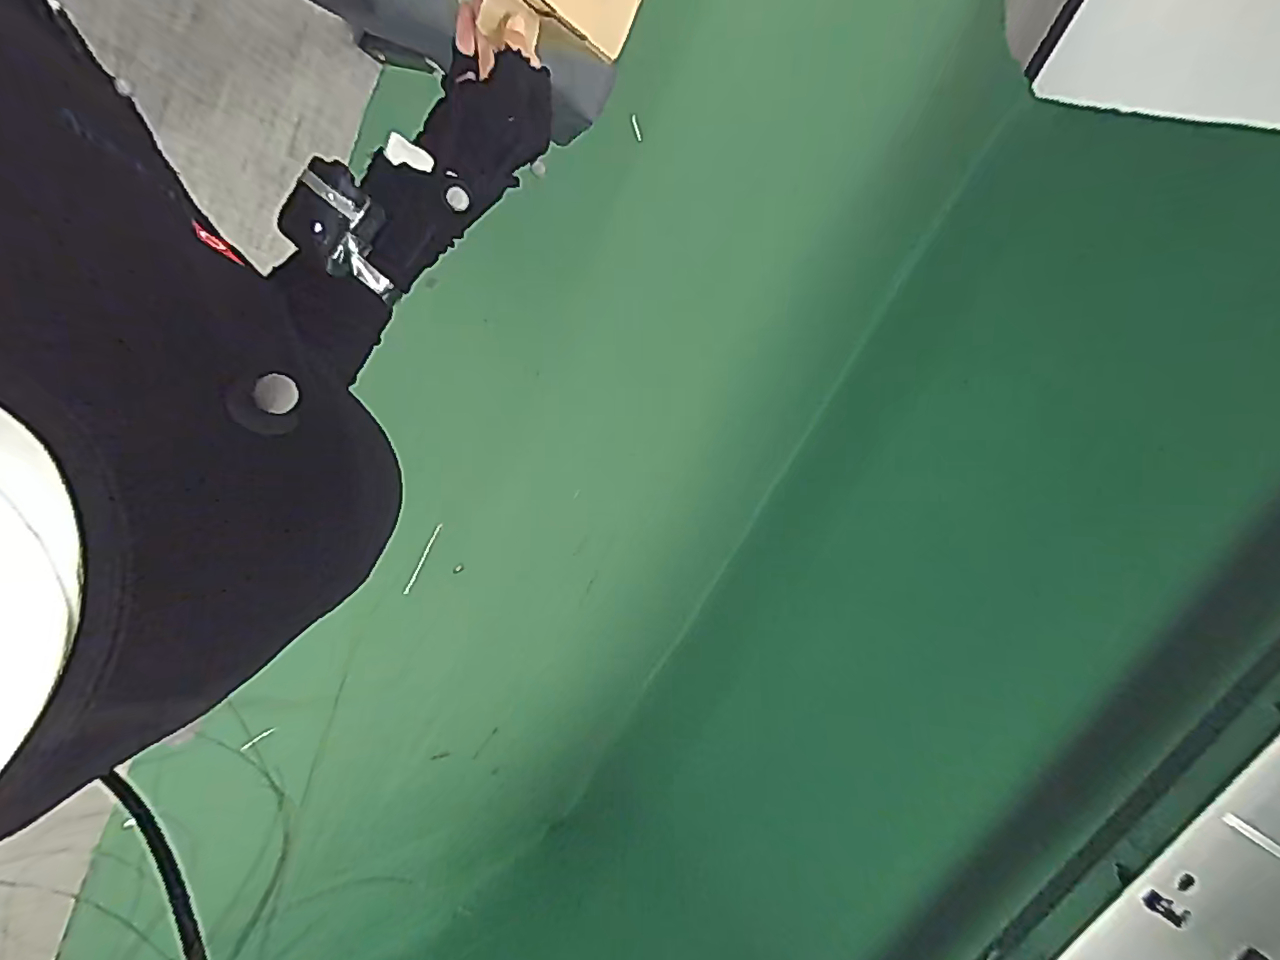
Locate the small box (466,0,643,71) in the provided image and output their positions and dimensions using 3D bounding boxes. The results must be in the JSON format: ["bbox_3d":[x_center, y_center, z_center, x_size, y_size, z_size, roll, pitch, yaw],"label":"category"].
[{"bbox_3d":[-0.085,-0.442,0.381,0.168,0.176,0.179,1,125,-49],"label":"small box"}]
